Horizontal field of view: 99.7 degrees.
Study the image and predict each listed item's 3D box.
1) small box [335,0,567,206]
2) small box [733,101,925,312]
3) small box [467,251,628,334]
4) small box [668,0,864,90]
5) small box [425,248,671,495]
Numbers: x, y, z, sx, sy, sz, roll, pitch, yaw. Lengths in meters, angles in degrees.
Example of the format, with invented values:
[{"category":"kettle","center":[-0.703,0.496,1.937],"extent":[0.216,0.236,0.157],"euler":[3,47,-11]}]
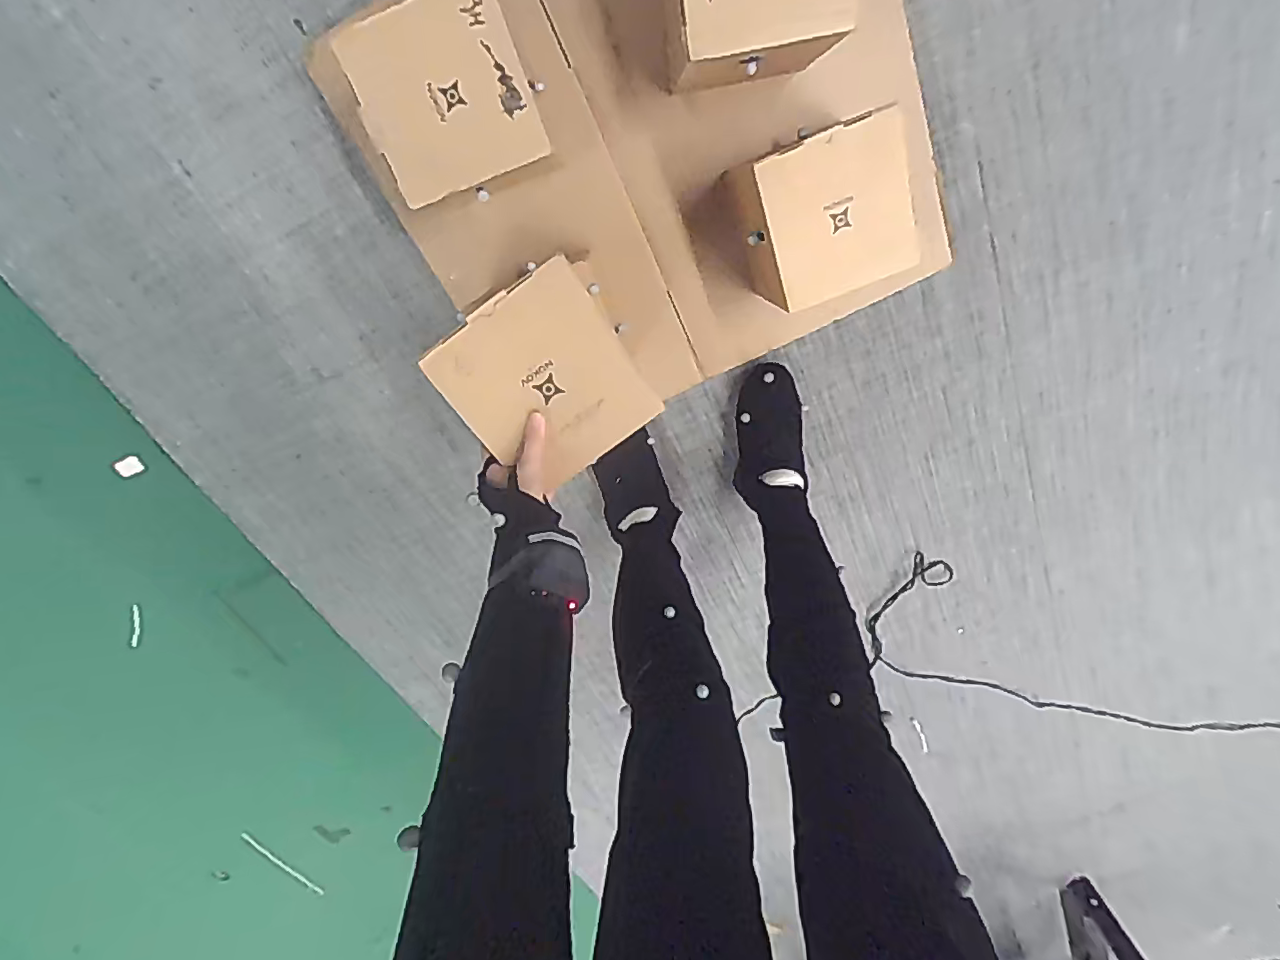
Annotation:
[{"category":"small box","center":[-0.198,-0.431,0.628],"extent":[0.179,0.176,0.168],"euler":[-18,116,7]},{"category":"small box","center":[0.231,-0.339,0.688],"extent":[0.168,0.176,0.179],"euler":[-20,115,7]},{"category":"small box","center":[-0.107,-0.198,0.748],"extent":[0.168,0.176,0.179],"euler":[-19,115,7]},{"category":"small box","center":[0.121,-0.545,0.579],"extent":[0.179,0.176,0.168],"euler":[-10,116,1]},{"category":"small box","center":[-0.093,-0.117,0.581],"extent":[0.168,0.176,0.179],"euler":[-35,109,4]}]
